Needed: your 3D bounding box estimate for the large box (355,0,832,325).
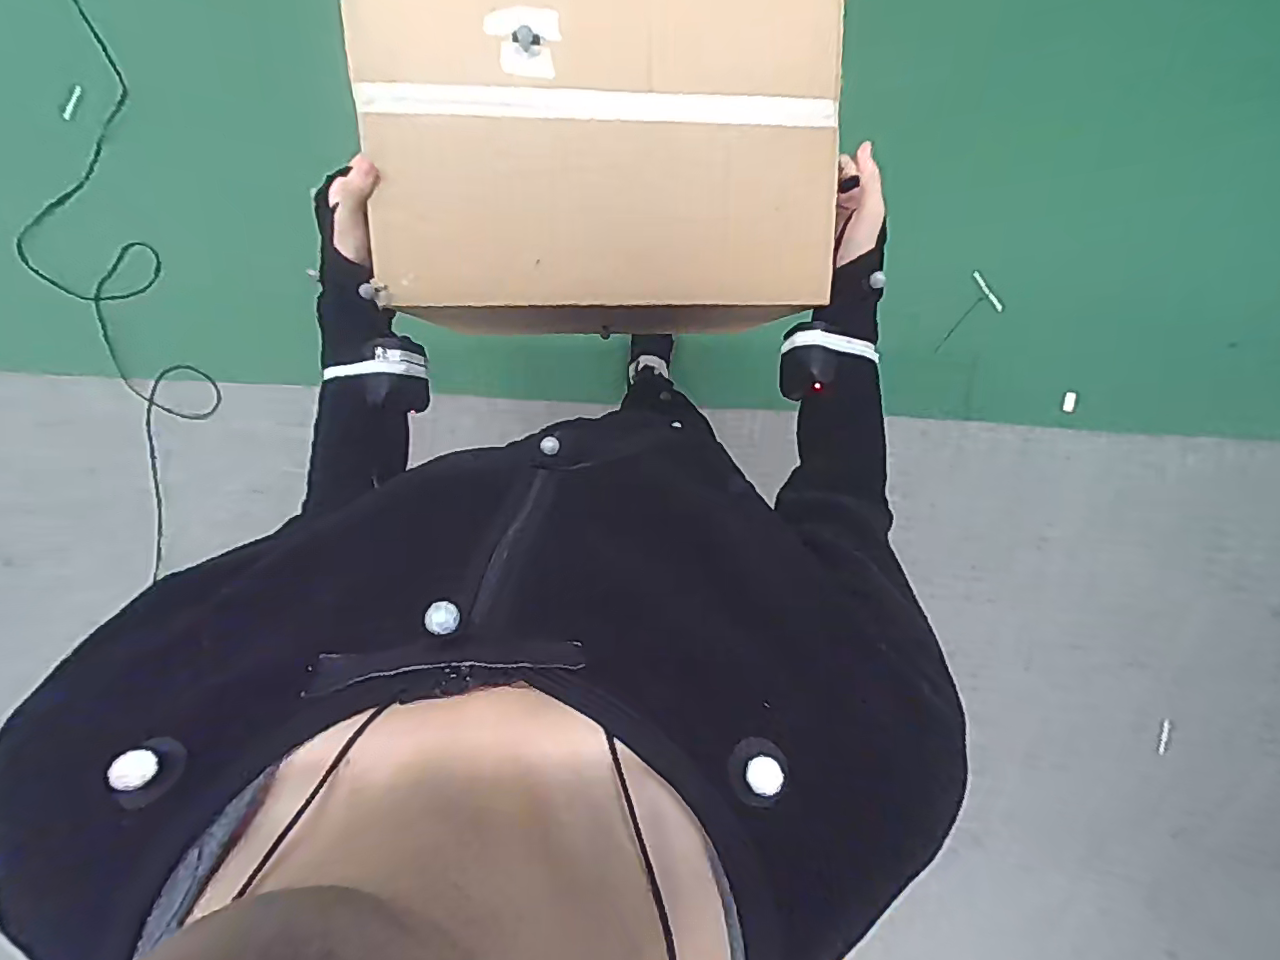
[{"bbox_3d":[-0.043,-0.346,0.609,0.408,0.320,0.320,-2,101,-6],"label":"large box"}]
